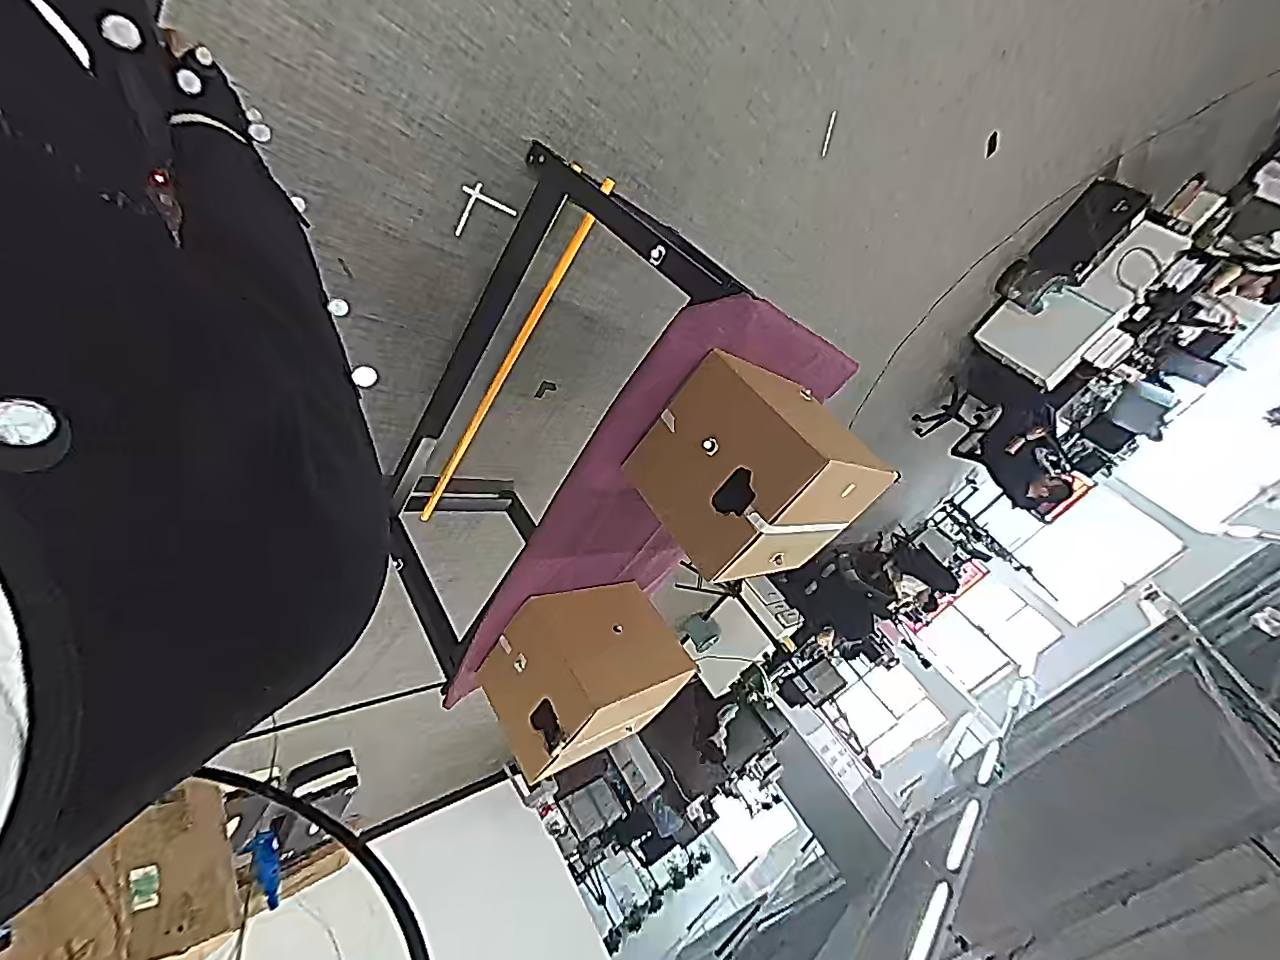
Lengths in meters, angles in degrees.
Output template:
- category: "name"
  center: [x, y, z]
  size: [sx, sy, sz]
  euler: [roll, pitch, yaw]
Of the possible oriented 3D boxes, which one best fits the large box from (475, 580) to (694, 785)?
- category: "large box"
  center: [-0.144, 0.494, 1.405]
  size: [0.408, 0.320, 0.320]
  euler: [3, 131, -52]
